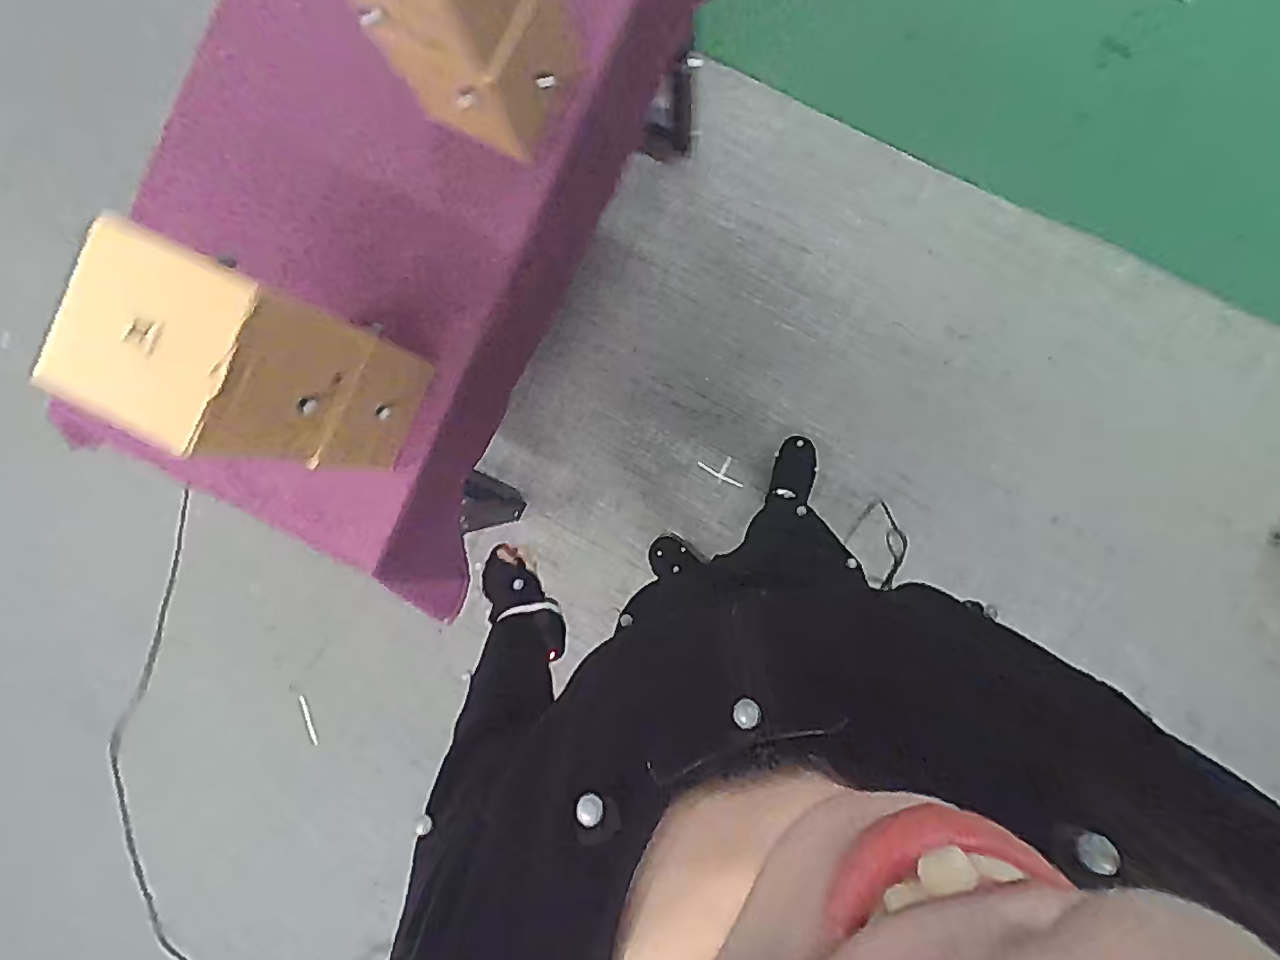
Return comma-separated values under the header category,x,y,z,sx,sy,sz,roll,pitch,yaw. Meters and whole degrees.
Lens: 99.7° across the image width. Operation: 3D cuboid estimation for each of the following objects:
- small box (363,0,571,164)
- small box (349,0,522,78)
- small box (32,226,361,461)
category,x,y,z,sx,sy,sz,roll,pitch,yaw
small box,-0.212,-0.562,0.716,0.179,0.176,0.168,28,92,5
small box,-0.225,-0.571,0.552,0.168,0.176,0.179,28,91,4
small box,-0.443,-0.124,0.570,0.179,0.176,0.168,25,92,4
